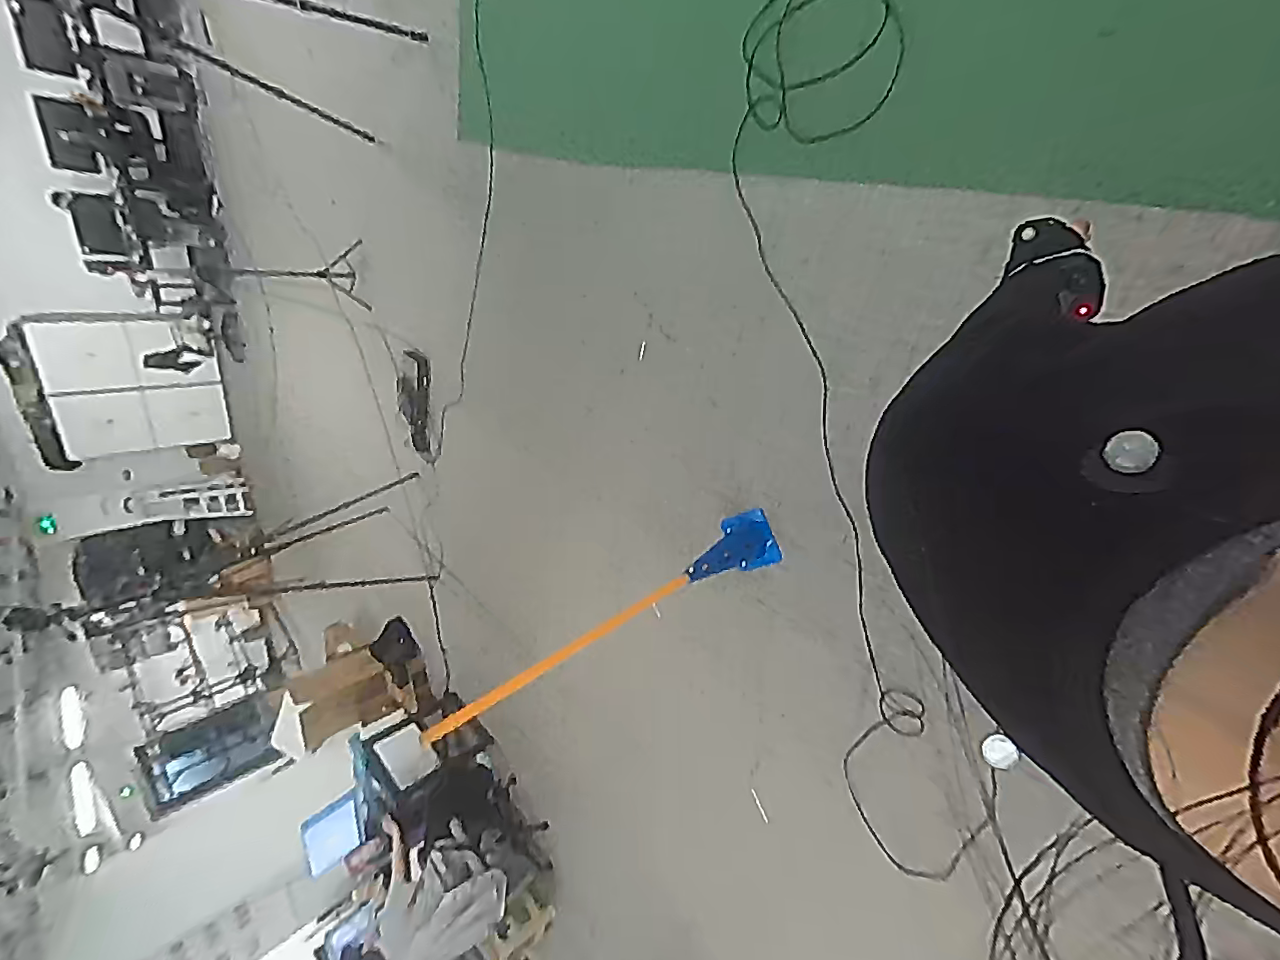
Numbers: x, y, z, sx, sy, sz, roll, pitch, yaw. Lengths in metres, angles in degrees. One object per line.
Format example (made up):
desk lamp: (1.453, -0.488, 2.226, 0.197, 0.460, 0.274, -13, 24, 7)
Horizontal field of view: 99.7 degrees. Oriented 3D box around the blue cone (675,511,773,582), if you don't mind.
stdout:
blue cone: (0.256, 0.260, 1.801, 0.193, 0.380, 0.192, -29, 83, 48)
